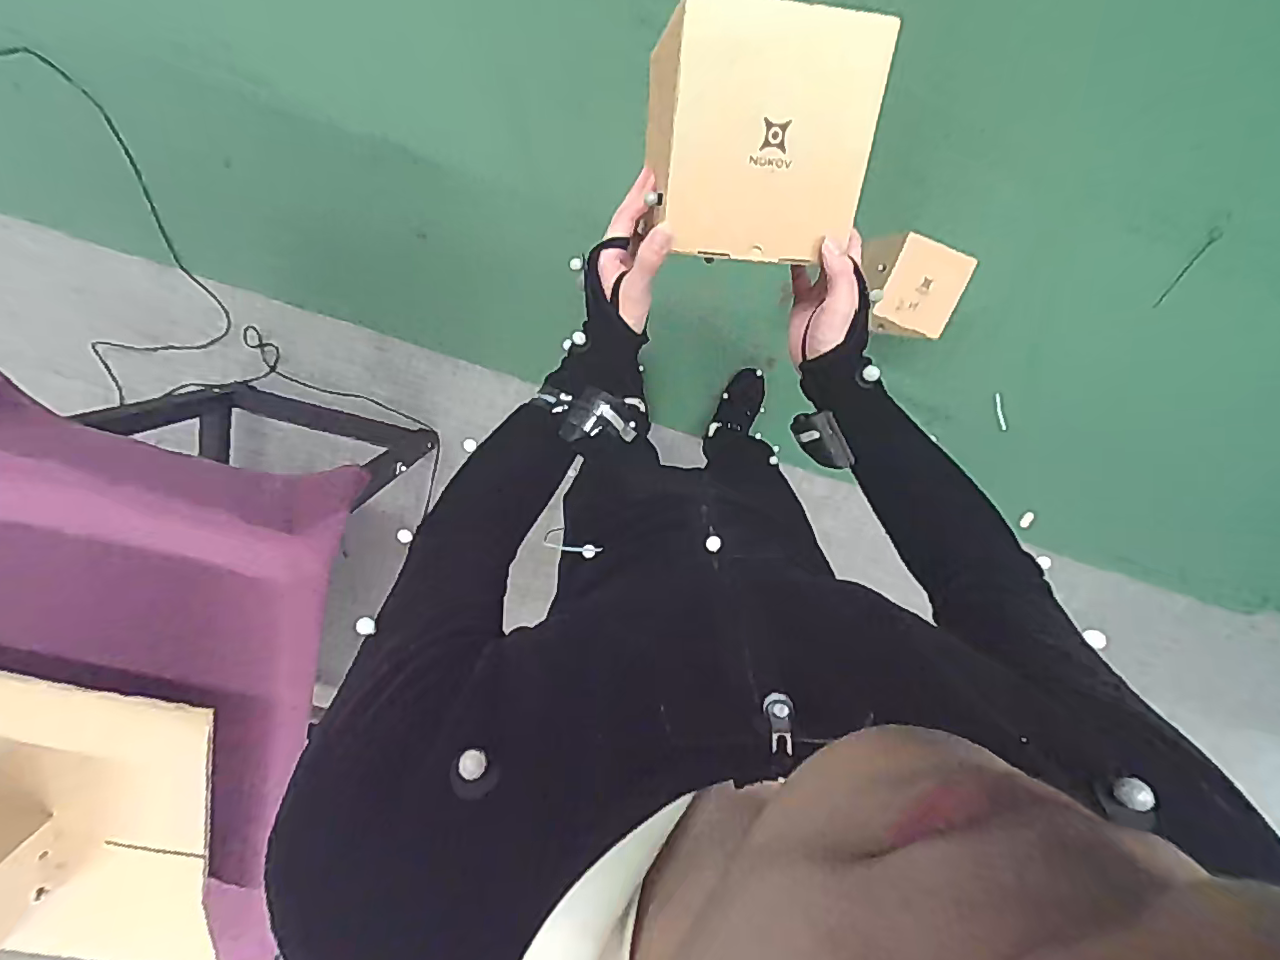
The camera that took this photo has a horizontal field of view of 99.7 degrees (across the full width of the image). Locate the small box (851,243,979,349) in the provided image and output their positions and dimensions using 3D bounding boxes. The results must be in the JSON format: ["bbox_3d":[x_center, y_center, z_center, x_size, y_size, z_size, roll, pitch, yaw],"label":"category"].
[{"bbox_3d":[0.612,-0.414,1.230,0.168,0.176,0.179,19,107,-6],"label":"small box"}]

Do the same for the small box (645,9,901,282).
[{"bbox_3d":[0.101,-0.290,0.502,0.168,0.176,0.179,1,117,-8],"label":"small box"}]
